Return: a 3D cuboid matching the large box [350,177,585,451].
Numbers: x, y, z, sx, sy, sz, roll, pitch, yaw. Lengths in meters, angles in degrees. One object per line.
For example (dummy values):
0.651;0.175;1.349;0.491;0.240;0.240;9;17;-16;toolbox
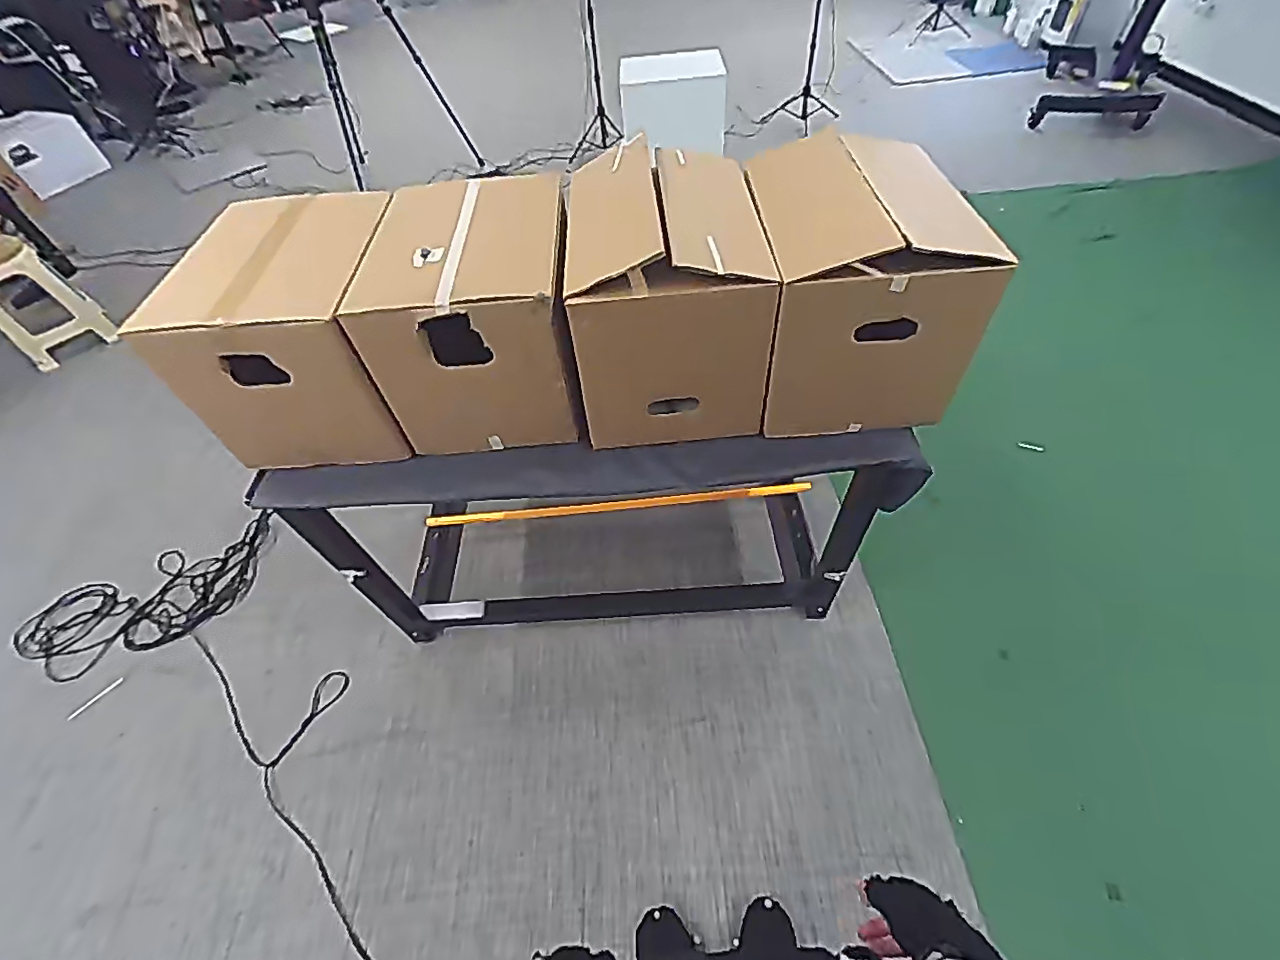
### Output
-0.274;-0.311;1.015;0.320;0.320;0.408;-5;53;2;large box
